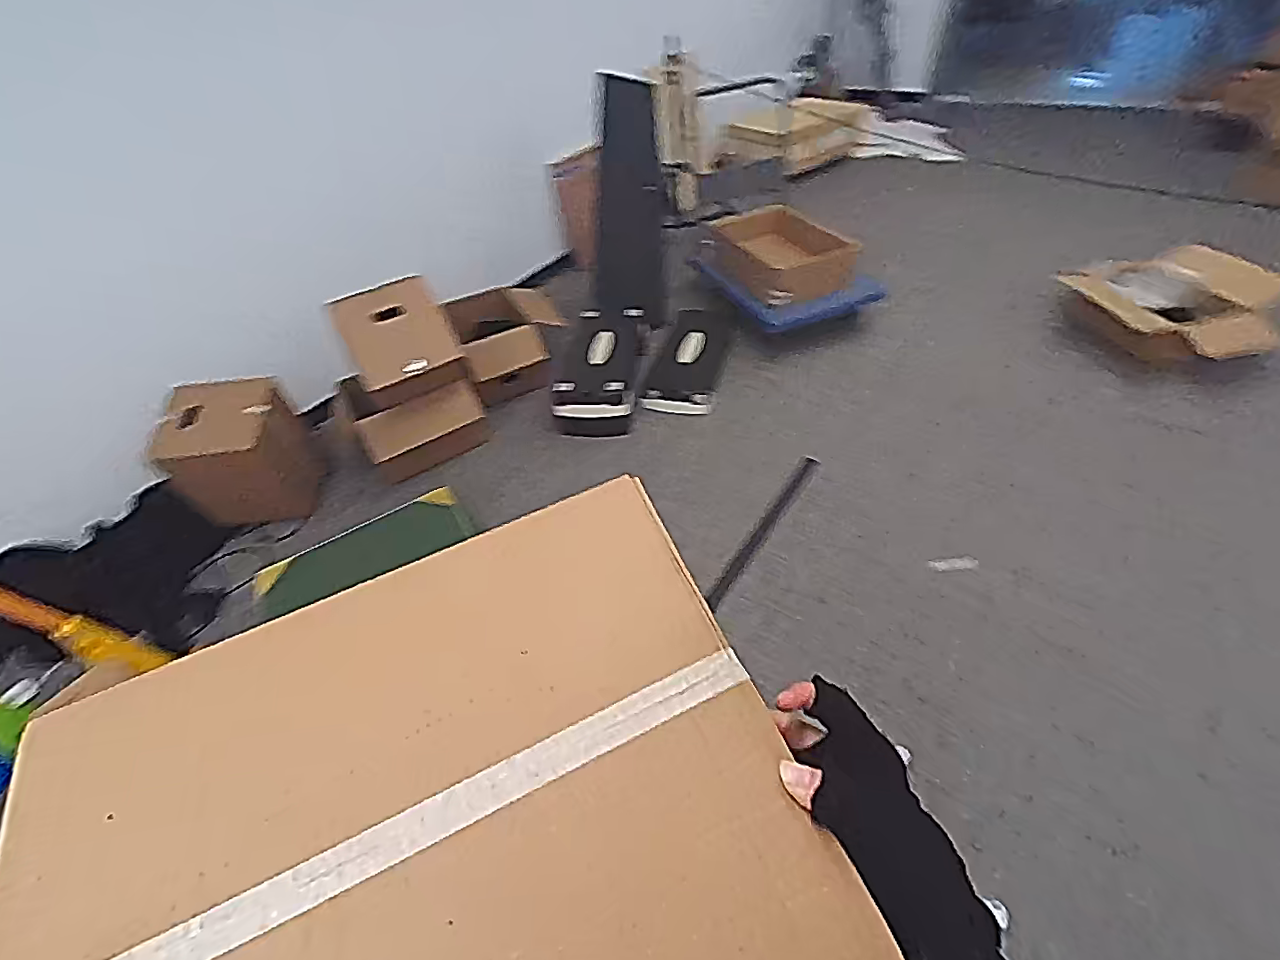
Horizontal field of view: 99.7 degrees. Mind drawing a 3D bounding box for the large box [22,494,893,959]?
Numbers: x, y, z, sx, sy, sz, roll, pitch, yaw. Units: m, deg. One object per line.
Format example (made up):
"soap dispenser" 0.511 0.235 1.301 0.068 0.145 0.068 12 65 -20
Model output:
"large box" -0.107 0.277 0.417 0.408 0.320 0.320 -22 57 -10
